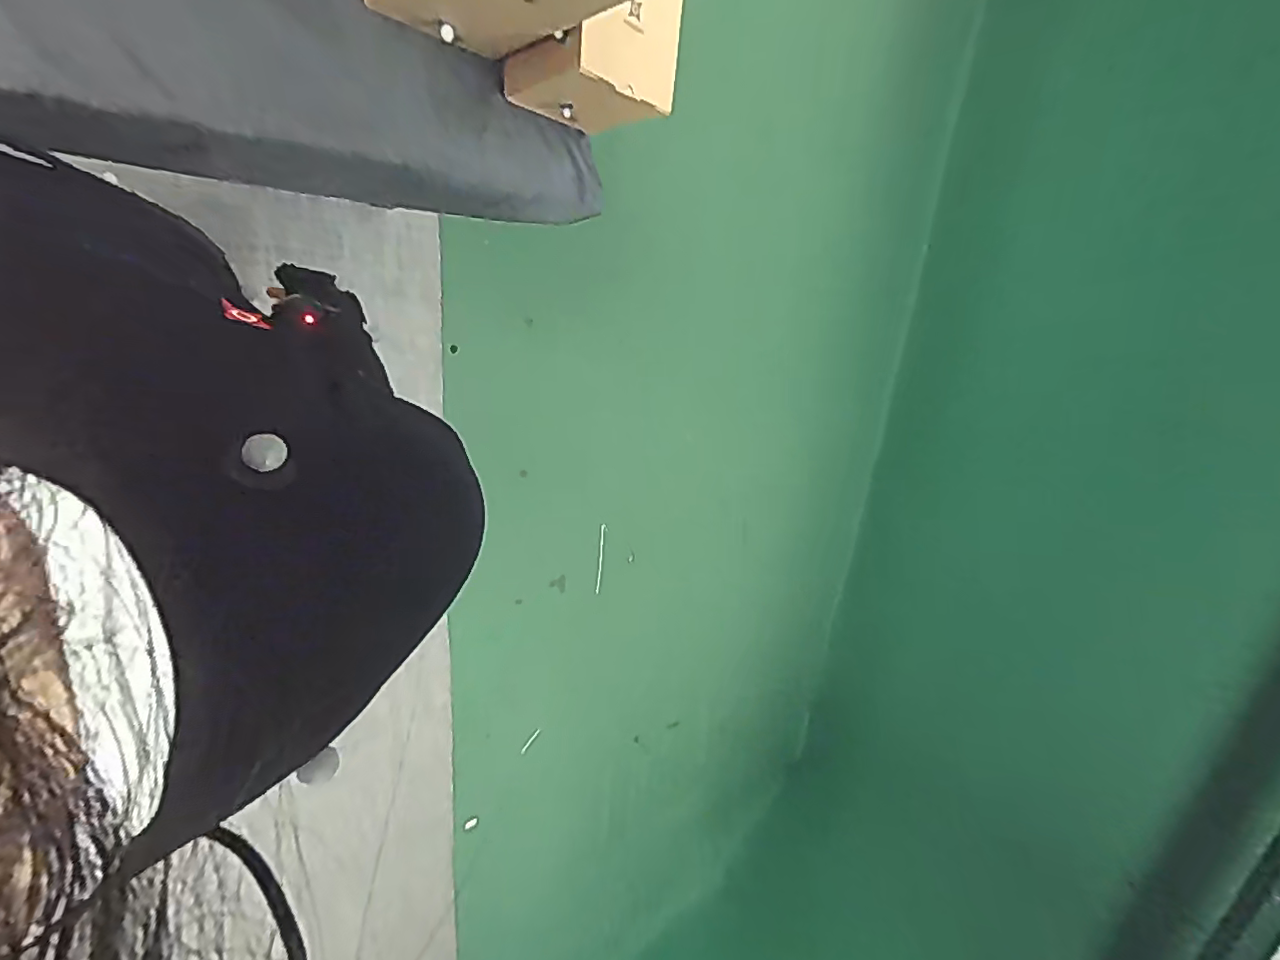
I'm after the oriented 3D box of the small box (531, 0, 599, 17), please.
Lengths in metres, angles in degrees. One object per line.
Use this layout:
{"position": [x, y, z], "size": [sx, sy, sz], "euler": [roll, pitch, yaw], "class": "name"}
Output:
{"position": [-0.079, -0.565, 0.481], "size": [0.168, 0.176, 0.179], "euler": [-9, 113, -43], "class": "small box"}
